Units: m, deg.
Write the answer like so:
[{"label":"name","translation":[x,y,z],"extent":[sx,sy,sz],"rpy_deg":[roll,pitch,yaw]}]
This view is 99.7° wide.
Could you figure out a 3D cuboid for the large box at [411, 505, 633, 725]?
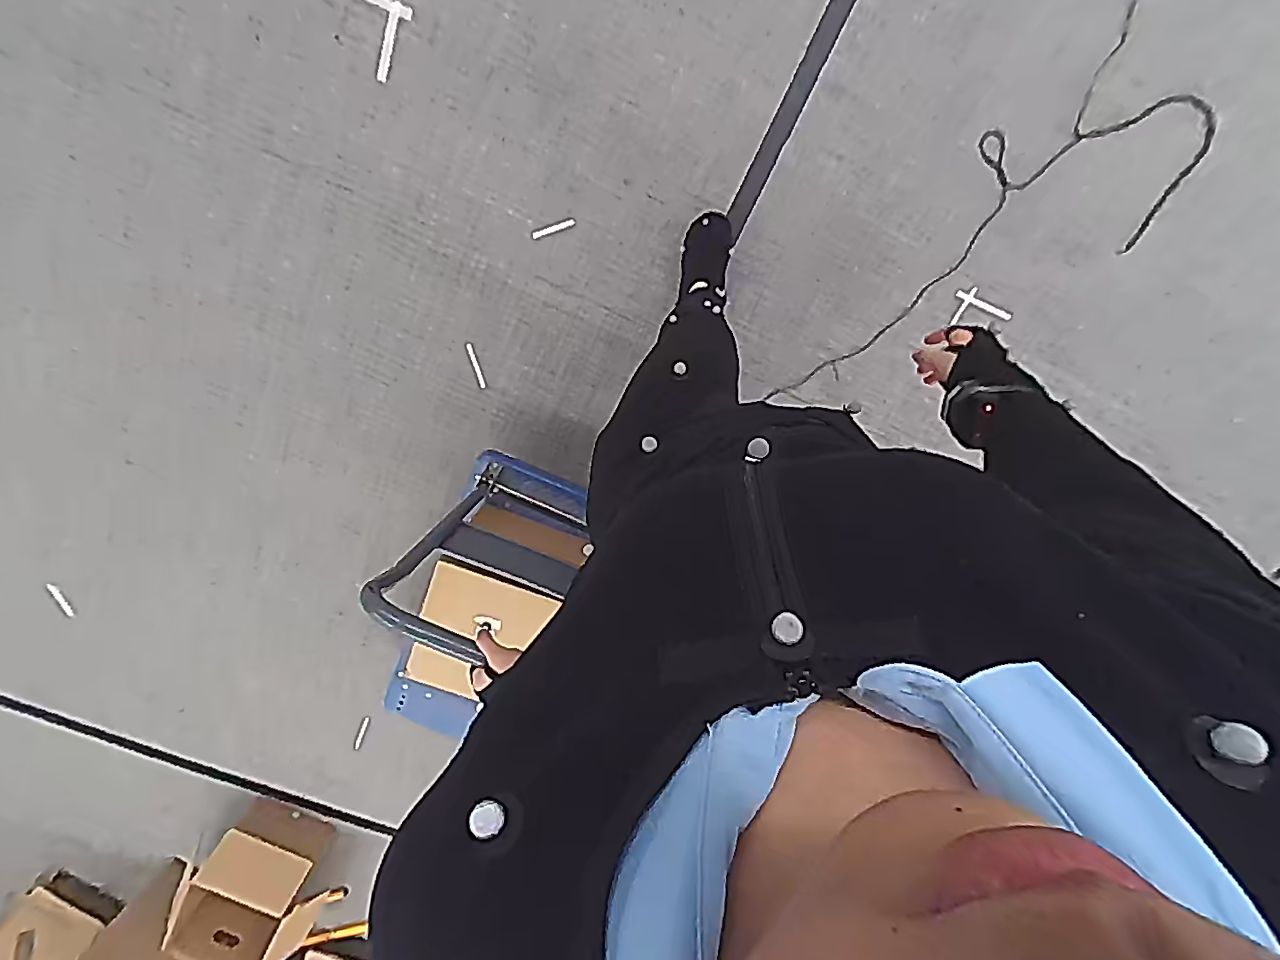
[{"label":"large box","translation":[-0.258,0.306,1.292],"extent":[0.408,0.320,0.320],"rpy_deg":[21,108,-5]}]
